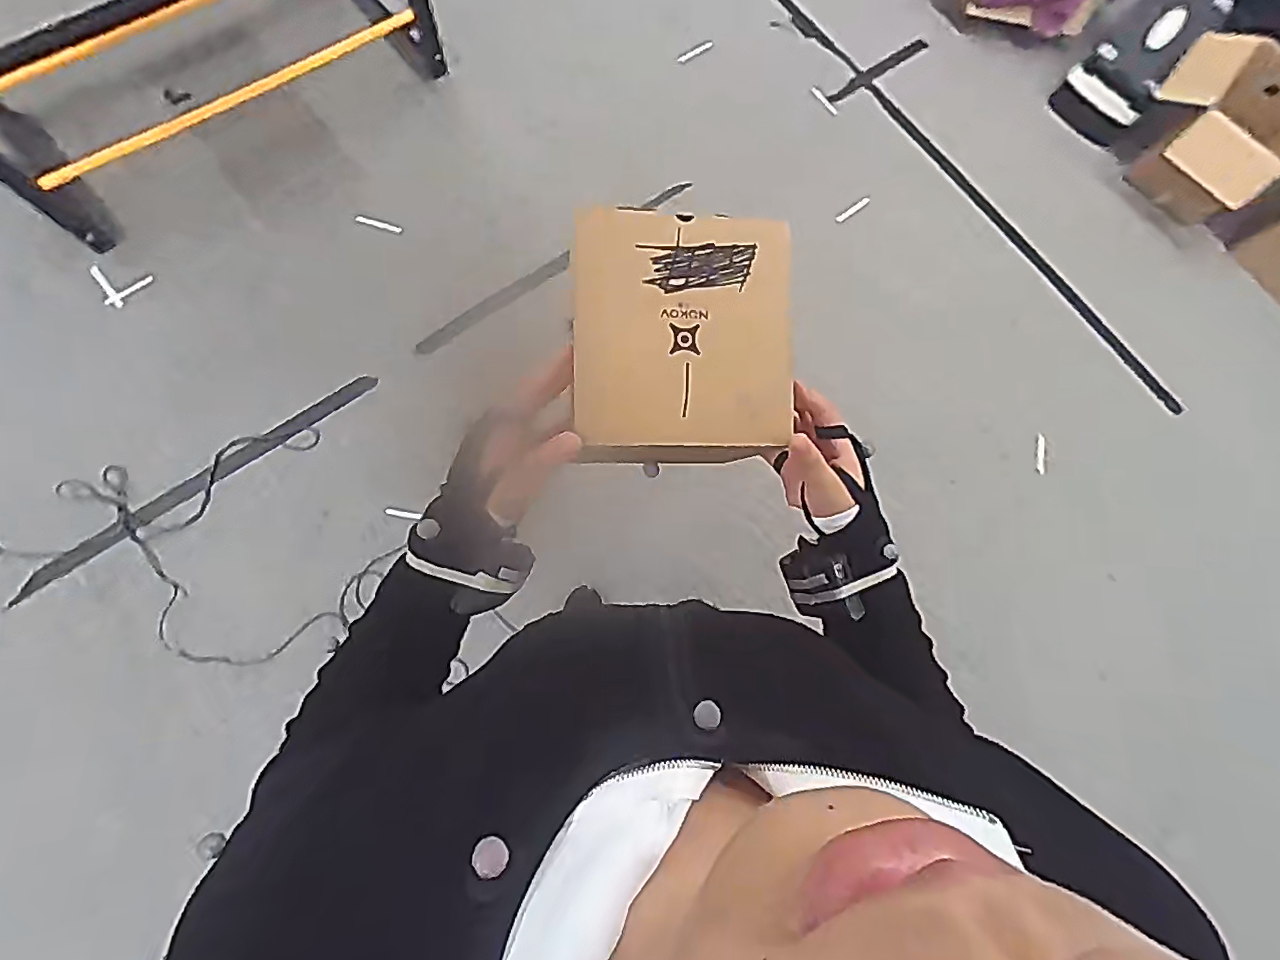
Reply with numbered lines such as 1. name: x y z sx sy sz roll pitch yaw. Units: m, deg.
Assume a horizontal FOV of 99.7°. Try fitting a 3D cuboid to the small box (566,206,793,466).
1. small box: 0.020 -0.108 0.474 0.168 0.176 0.179 -1 87 -8
